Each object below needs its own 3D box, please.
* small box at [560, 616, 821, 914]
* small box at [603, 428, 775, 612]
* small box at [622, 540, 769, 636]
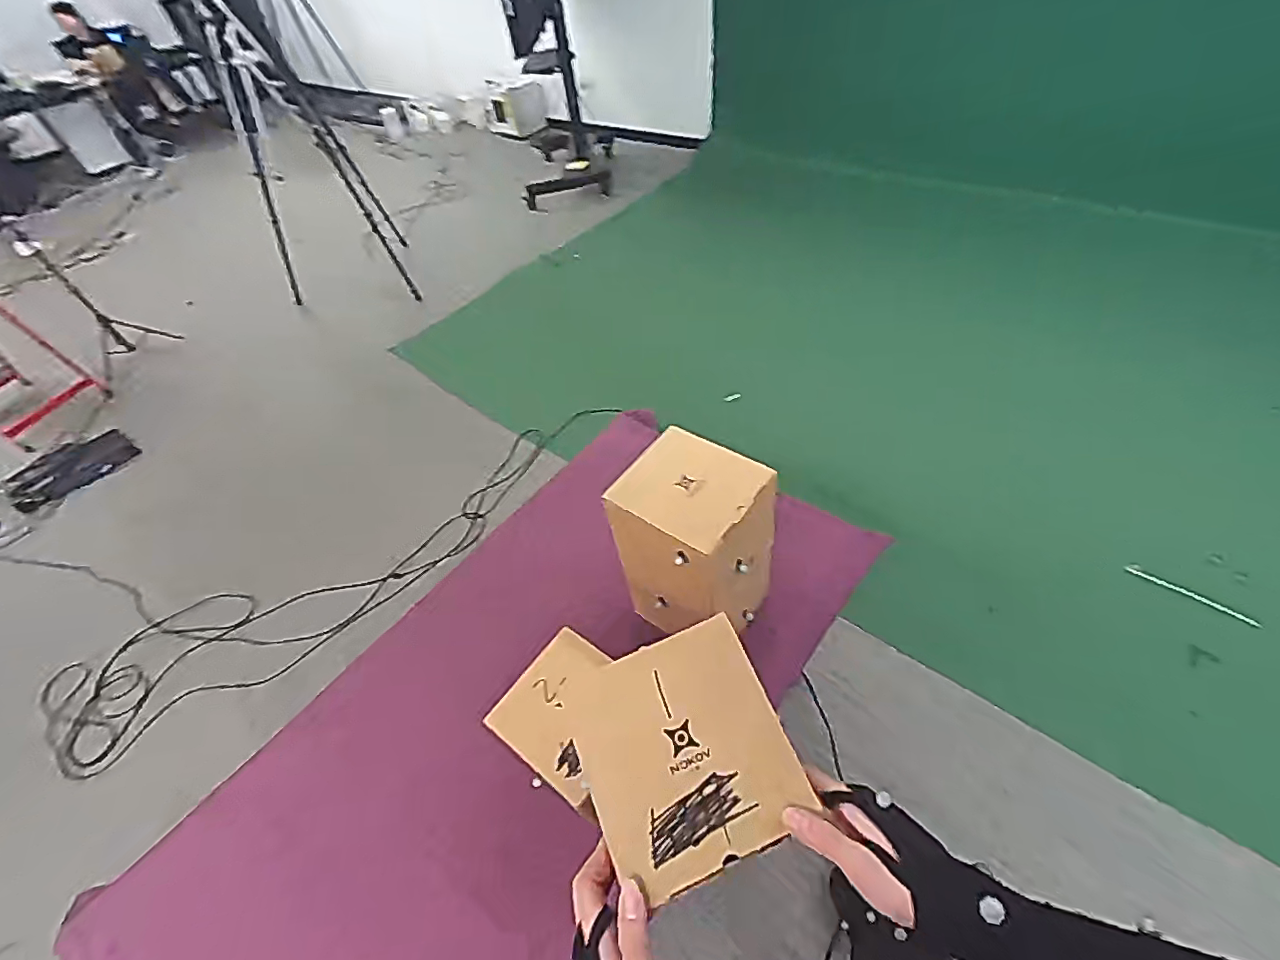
[{"bbox_3d":[0.038,0.254,0.512,0.168,0.176,0.179,-20,65,-9],"label":"small box"},{"bbox_3d":[0.073,0.060,0.783,0.179,0.176,0.168,28,58,28],"label":"small box"},{"bbox_3d":[0.095,0.166,0.904,0.179,0.176,0.168,28,59,29],"label":"small box"}]
